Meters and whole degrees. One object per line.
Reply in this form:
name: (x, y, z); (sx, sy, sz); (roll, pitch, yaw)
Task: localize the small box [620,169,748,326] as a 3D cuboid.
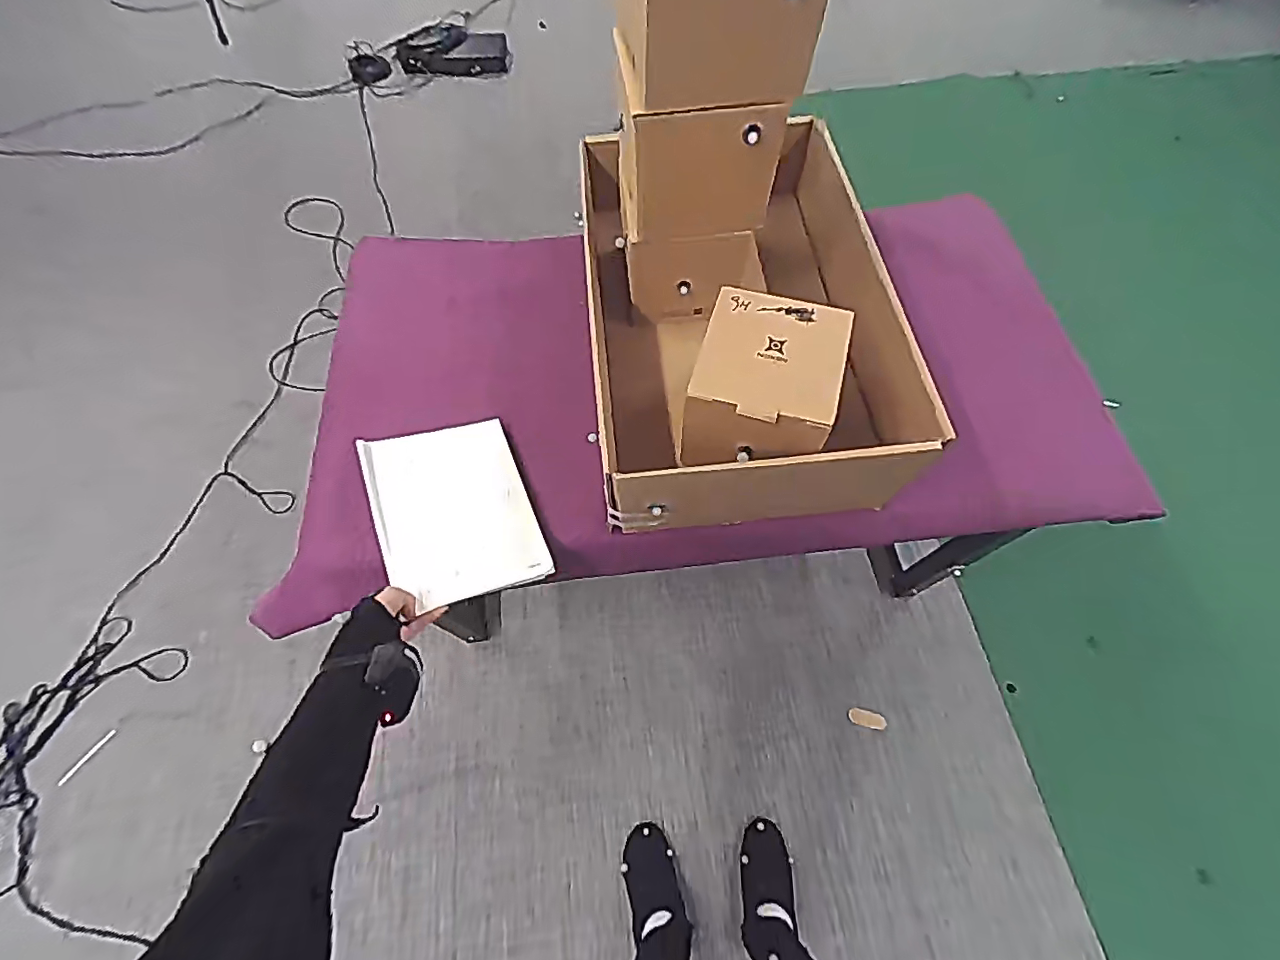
small box: (0.060, -0.353, 0.830); (0.168, 0.176, 0.179); (-5, 65, -2)

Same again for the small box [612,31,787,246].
small box: (0.064, -0.421, 0.683); (0.179, 0.176, 0.168); (-7, 65, -3)
